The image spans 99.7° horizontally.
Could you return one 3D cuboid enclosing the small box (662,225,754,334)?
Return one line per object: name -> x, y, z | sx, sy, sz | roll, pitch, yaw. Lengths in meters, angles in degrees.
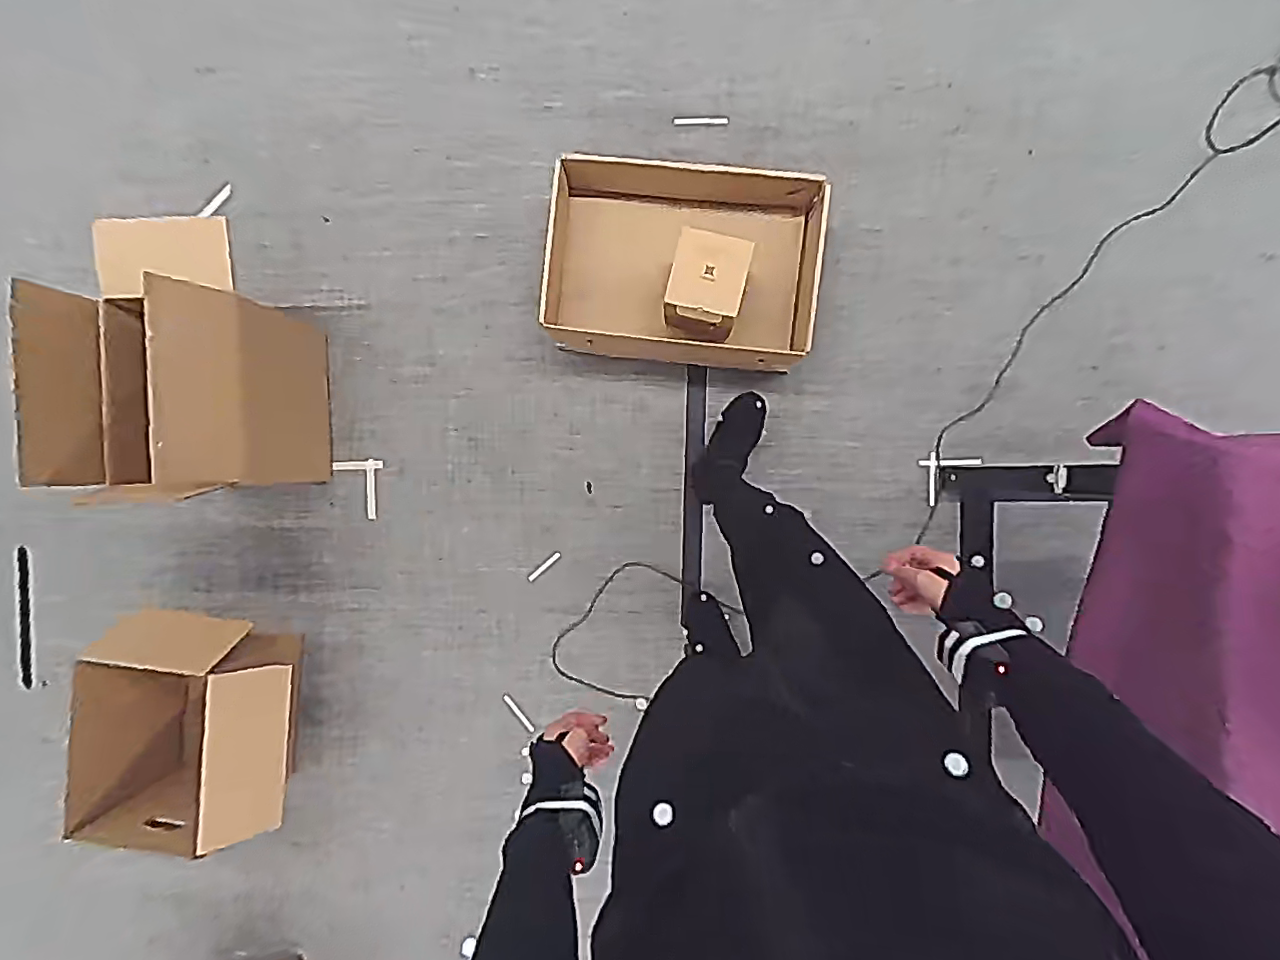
small box -> 0.154, -0.452, 1.250 | 0.168, 0.176, 0.179 | 14, 92, 3
